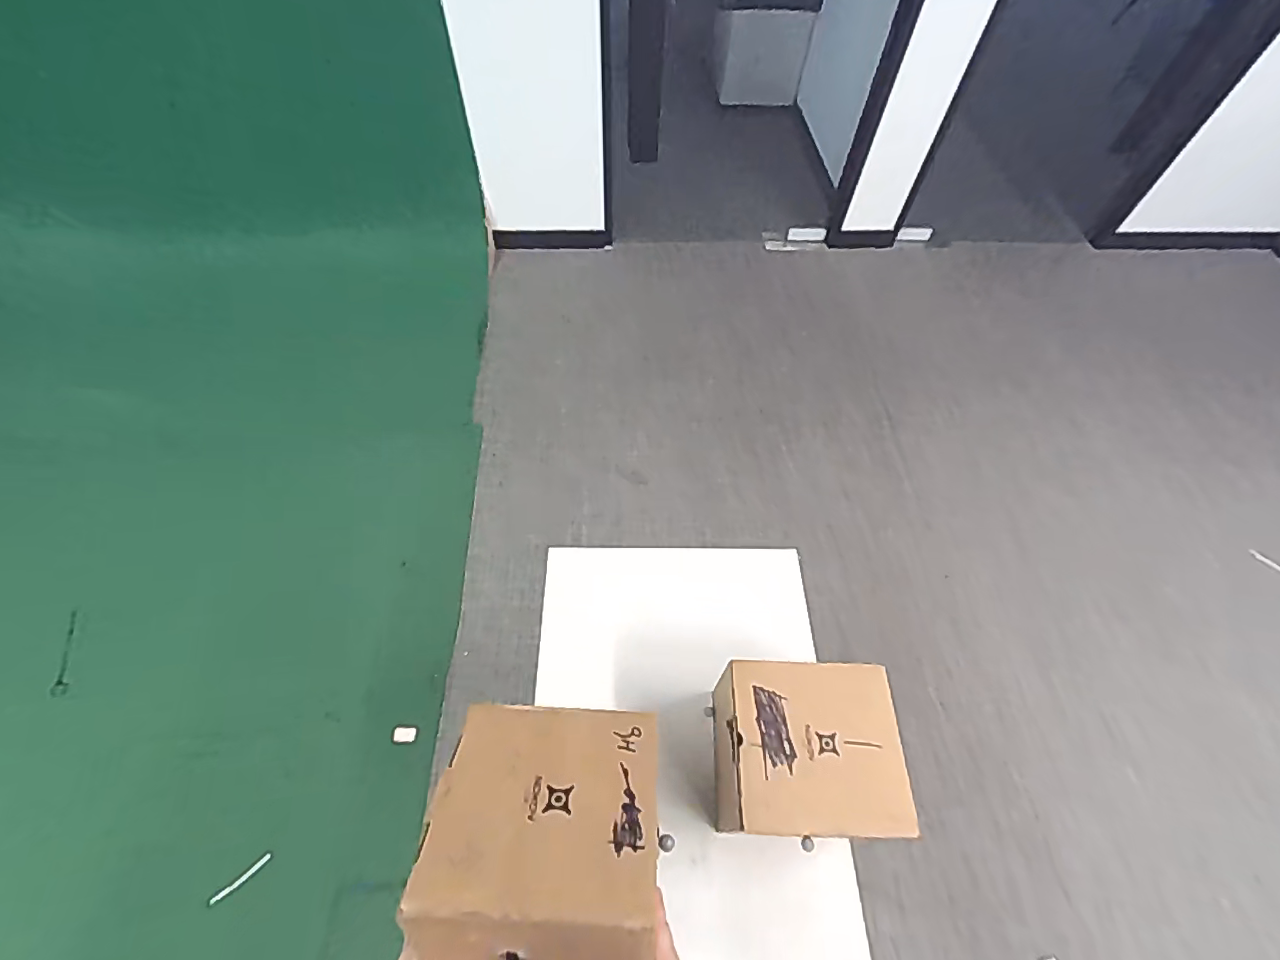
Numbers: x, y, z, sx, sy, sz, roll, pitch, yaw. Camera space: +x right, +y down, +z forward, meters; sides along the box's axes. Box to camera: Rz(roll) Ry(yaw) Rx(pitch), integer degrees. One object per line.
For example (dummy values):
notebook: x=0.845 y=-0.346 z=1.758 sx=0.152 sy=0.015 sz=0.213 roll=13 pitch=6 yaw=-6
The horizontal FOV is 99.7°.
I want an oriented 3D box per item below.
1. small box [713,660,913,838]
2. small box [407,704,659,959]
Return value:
small box: x=0.182 y=0.320 z=0.636 sx=0.179 sy=0.176 sz=0.168 roll=3 pitch=57 yaw=-1
small box: x=-0.074 y=0.326 z=0.478 sx=0.179 sy=0.176 sz=0.168 roll=3 pitch=30 yaw=1
